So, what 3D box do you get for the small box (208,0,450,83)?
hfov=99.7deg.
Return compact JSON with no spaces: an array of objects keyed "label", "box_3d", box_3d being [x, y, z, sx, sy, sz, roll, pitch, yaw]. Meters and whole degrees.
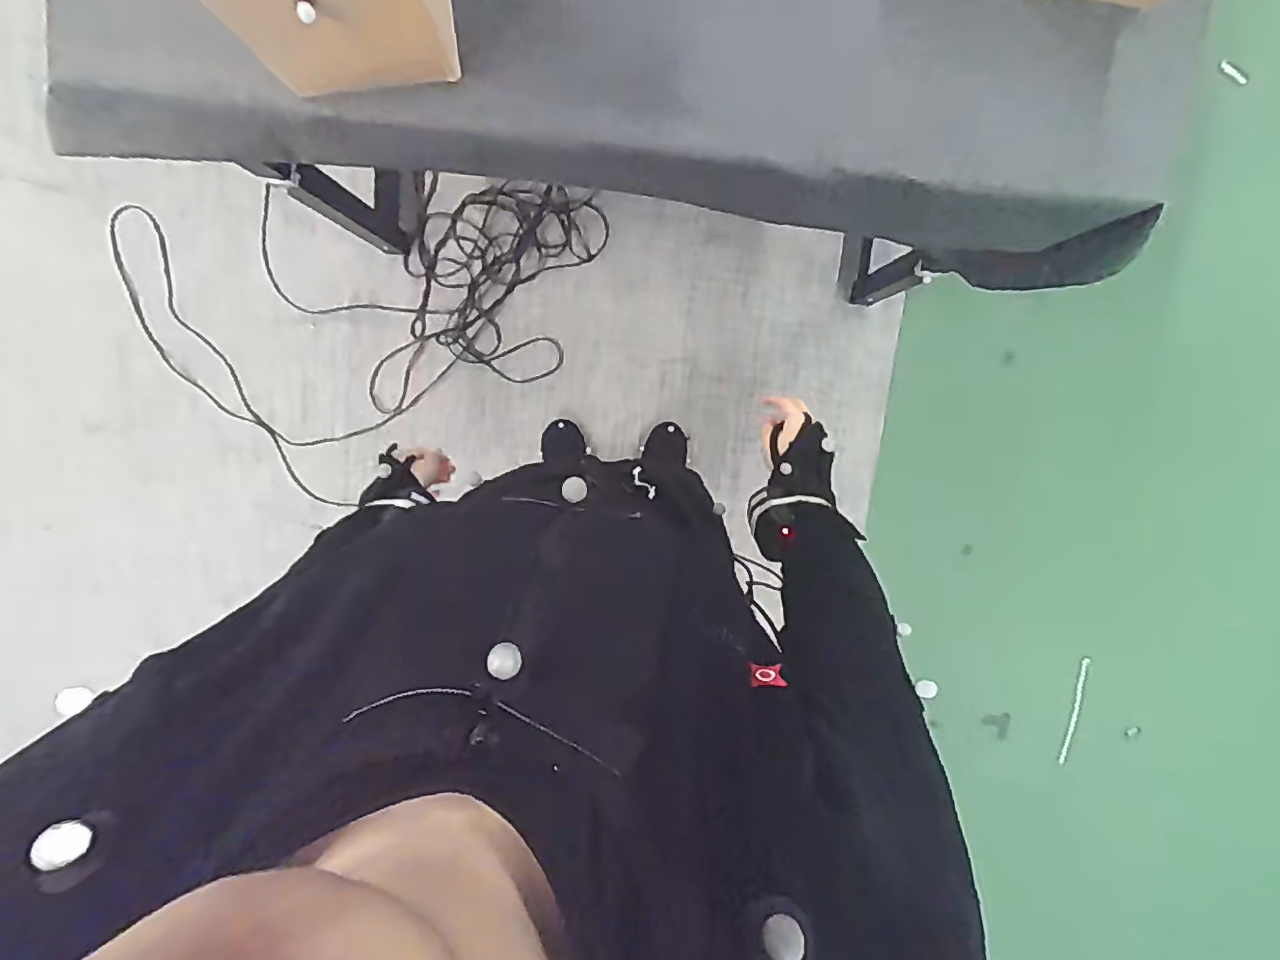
[{"label":"small box","box_3d":[-0.279,-0.486,0.472,0.179,0.176,0.168,-6,98,0]}]
